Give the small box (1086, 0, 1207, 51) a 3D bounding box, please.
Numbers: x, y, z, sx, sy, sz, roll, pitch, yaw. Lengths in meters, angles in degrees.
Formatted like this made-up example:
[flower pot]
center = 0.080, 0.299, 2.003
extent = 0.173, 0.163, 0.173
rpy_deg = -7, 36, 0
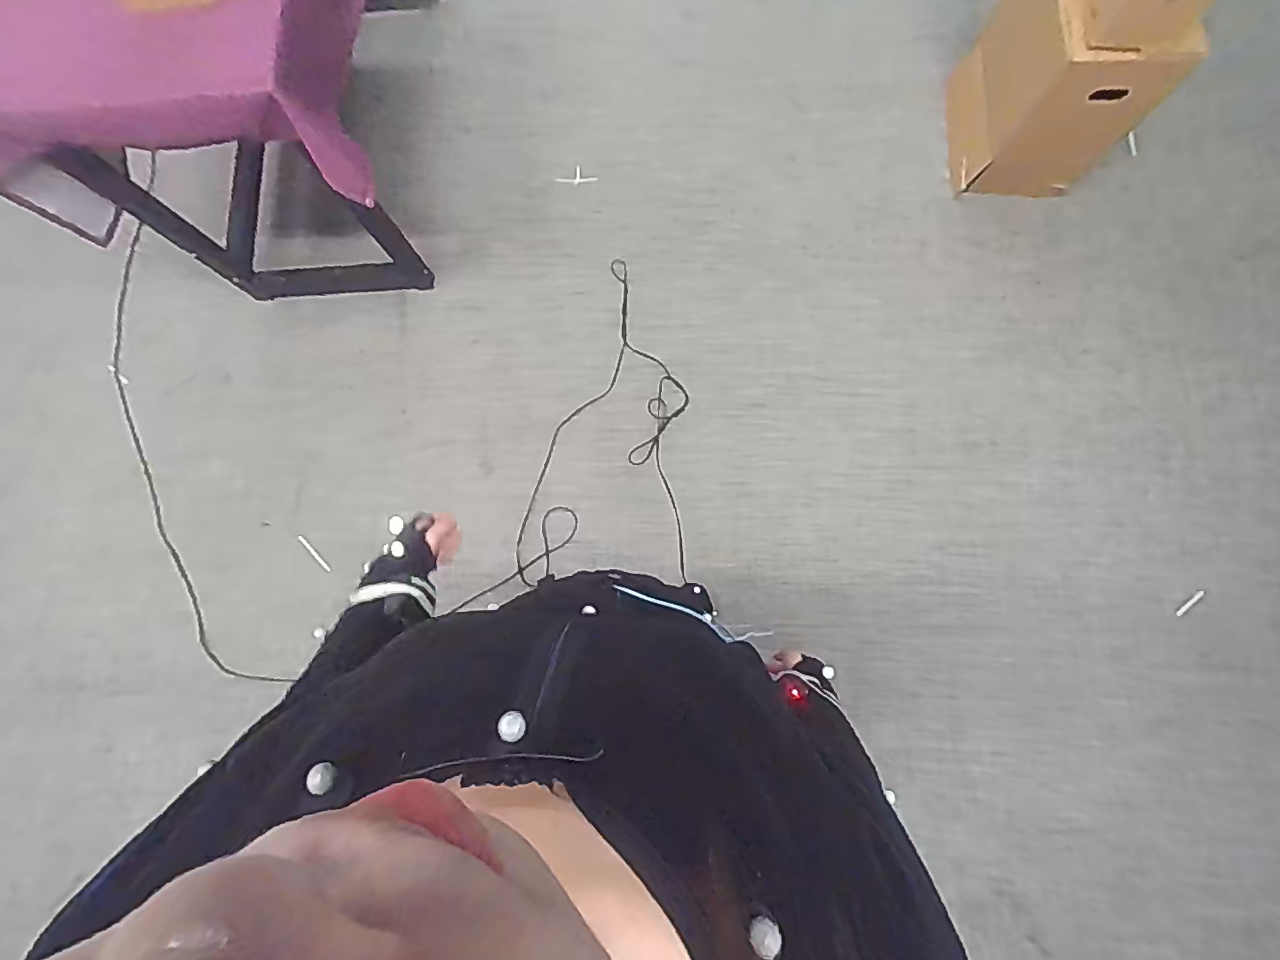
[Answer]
[small box]
center = 1.102, -1.066, 1.158
extent = 0.179, 0.176, 0.168
rpy_deg = 4, 79, 2
